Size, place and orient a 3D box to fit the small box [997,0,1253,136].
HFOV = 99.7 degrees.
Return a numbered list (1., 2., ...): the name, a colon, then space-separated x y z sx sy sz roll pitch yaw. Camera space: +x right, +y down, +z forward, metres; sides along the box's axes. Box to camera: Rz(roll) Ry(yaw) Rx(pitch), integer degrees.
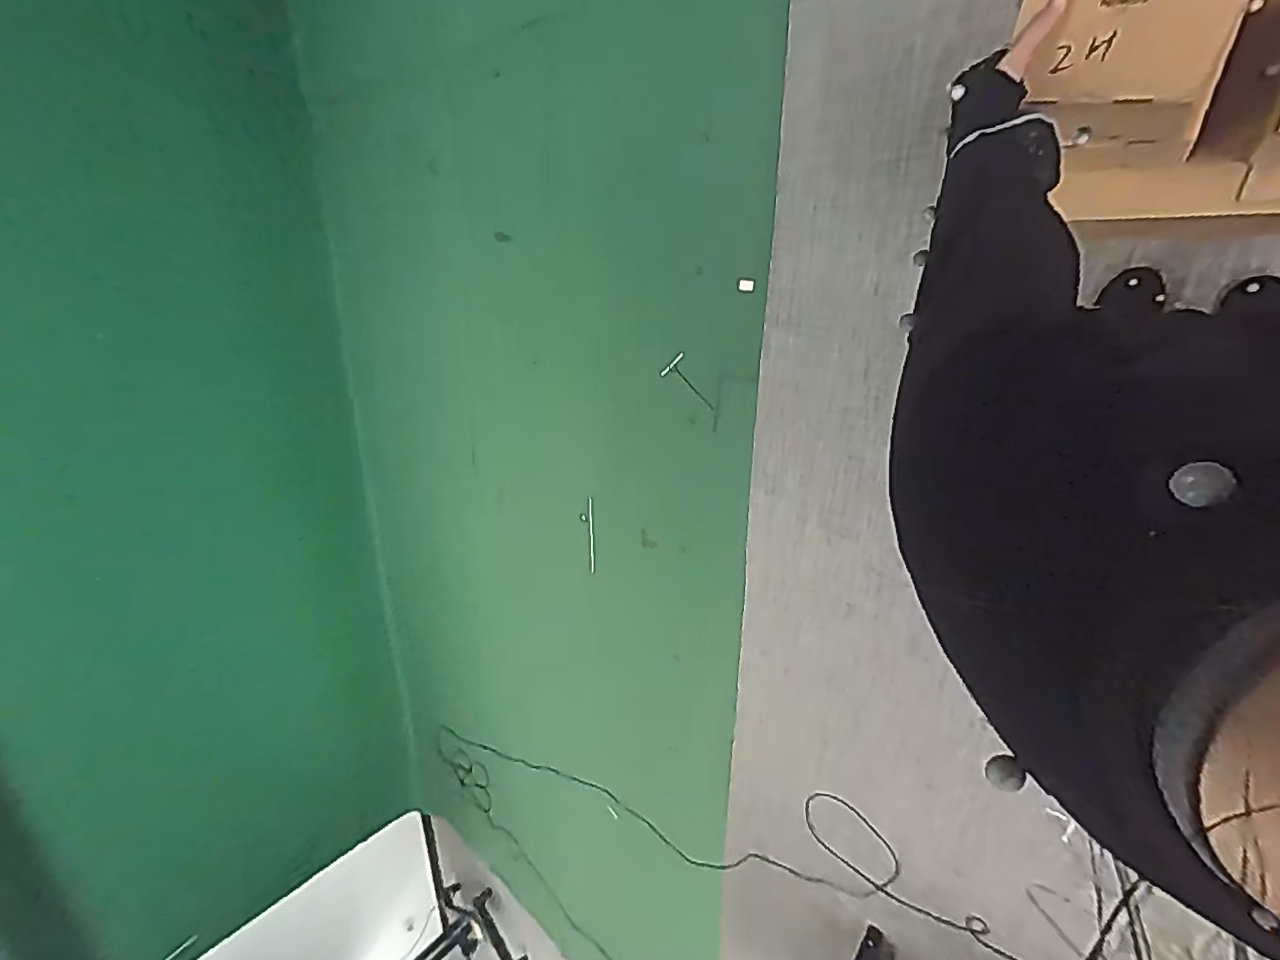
1. small box: 0.493 -0.464 0.539 0.168 0.176 0.179 26 122 34
